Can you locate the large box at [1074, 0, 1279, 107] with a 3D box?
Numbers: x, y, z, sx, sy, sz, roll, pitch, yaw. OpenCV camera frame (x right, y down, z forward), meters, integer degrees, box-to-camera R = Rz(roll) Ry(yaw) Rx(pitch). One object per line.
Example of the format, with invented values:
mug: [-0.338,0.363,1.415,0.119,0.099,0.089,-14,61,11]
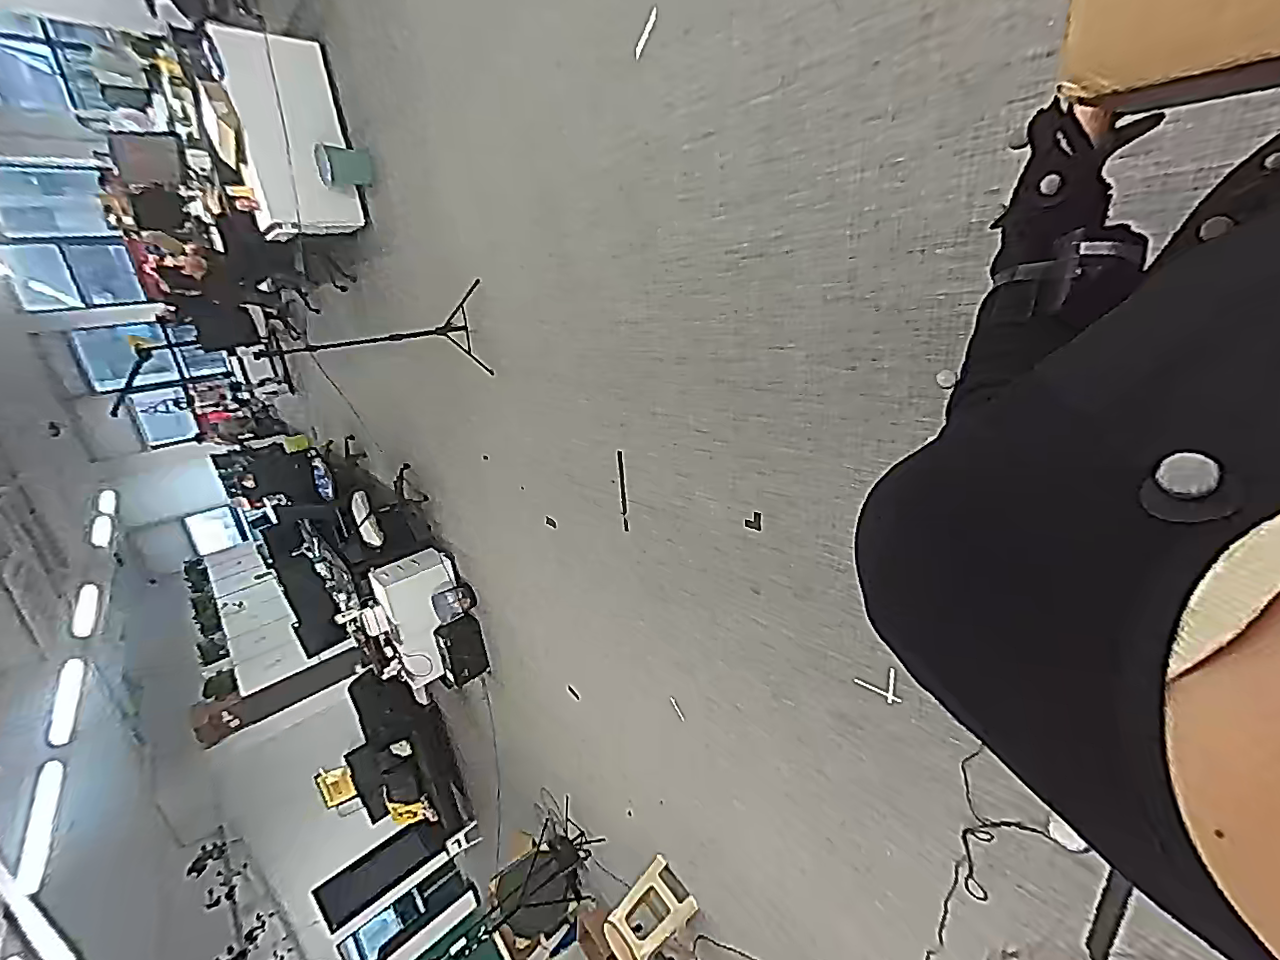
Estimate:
large box: [0.403,-0.339,0.142,0.408,0.320,0.320,12,123,40]
